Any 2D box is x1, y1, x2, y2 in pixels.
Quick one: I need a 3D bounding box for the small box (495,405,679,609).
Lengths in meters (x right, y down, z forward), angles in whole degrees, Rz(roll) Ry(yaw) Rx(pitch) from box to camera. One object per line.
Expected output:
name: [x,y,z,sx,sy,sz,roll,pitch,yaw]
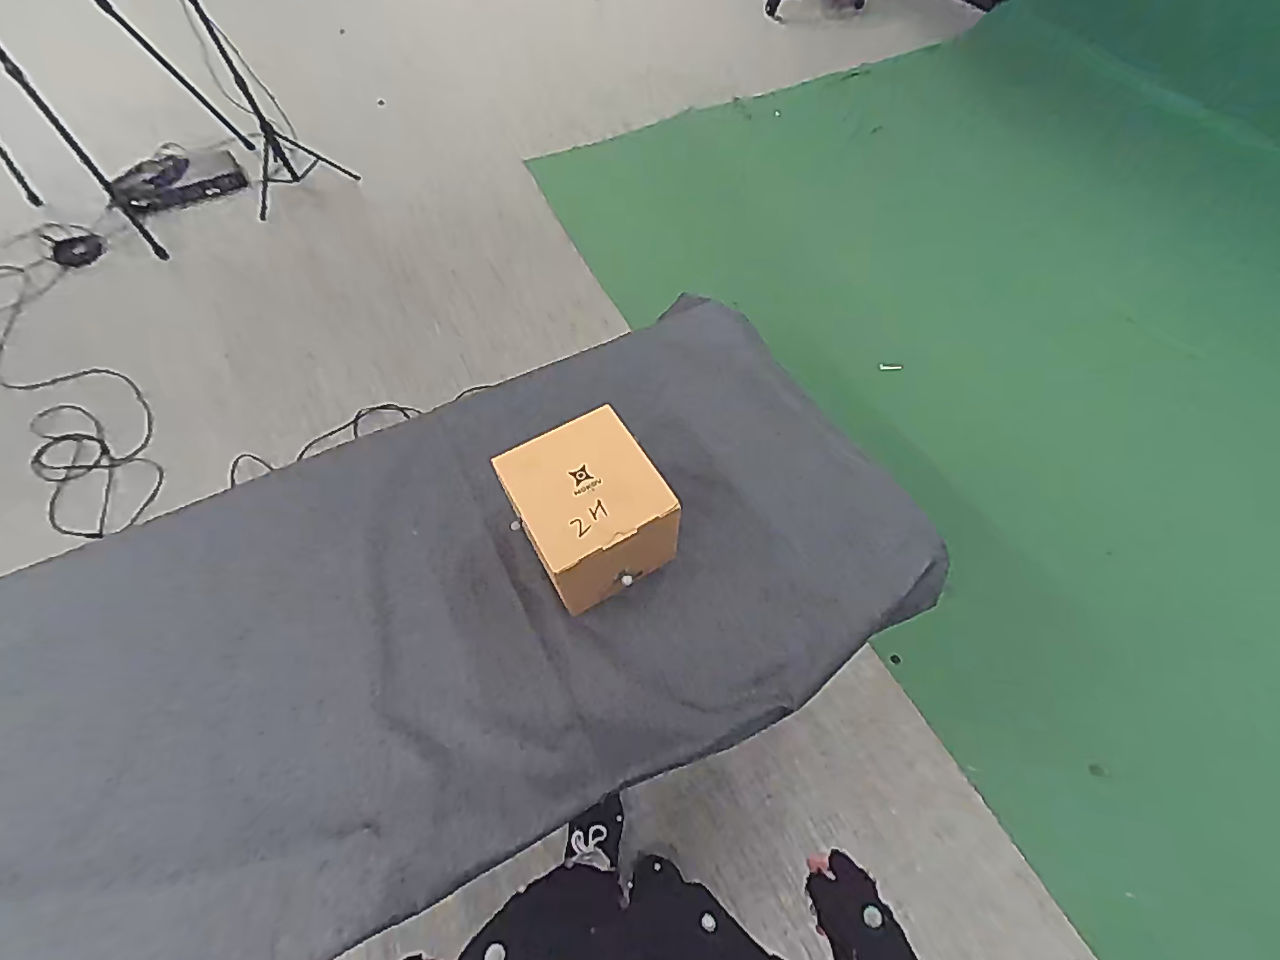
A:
small box: [-0.067,0.041,0.709,0.168,0.176,0.179,-27,64,-14]
